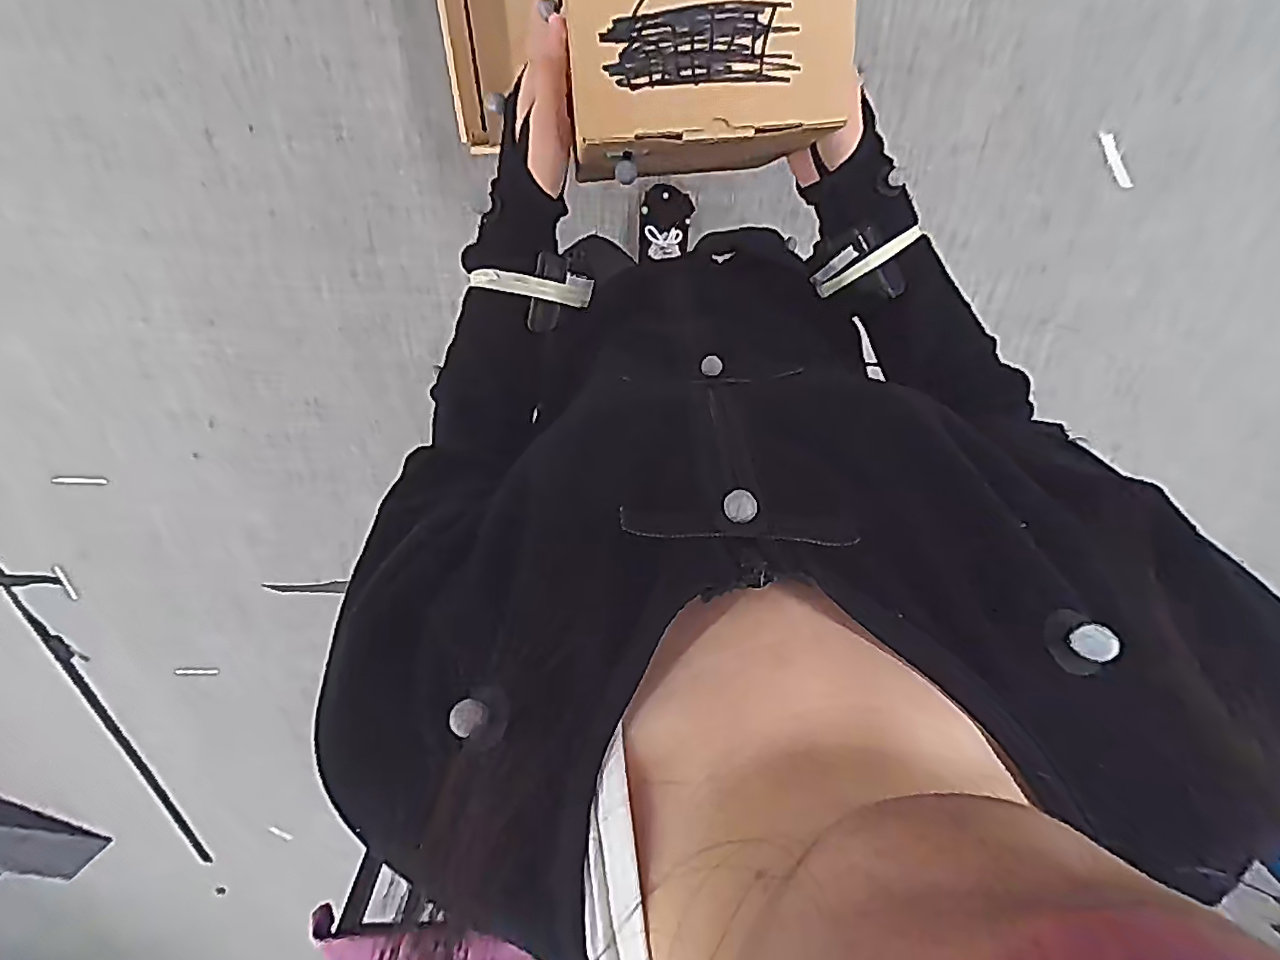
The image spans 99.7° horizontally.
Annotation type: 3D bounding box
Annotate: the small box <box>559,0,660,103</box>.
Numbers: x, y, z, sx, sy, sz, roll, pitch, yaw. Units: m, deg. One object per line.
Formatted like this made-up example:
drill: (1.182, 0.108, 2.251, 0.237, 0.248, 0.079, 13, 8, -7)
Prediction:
small box: (-0.055, -0.829, 1.010, 0.168, 0.176, 0.179, -7, 120, 4)

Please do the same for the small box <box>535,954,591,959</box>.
small box: (-0.223, 1.474, 1.520, 0.168, 0.176, 0.179, 2, 121, -4)
